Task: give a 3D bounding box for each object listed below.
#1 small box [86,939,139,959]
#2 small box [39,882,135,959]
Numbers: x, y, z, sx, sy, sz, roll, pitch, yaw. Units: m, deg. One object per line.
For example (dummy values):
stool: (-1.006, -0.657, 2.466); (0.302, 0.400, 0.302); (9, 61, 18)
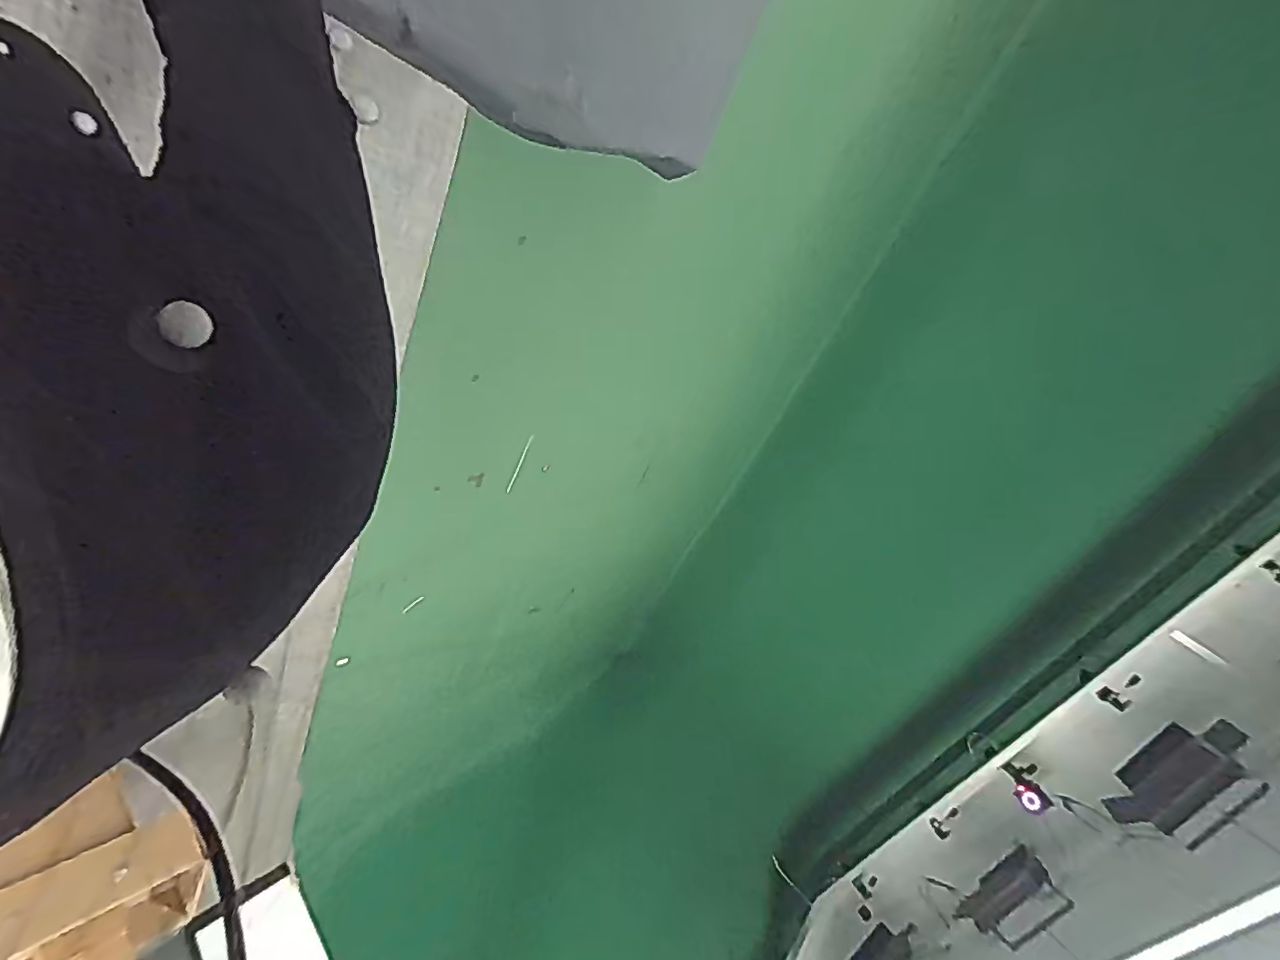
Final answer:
small box: (-1.463, 1.395, 1.453); (0.168, 0.176, 0.179); (-2, 128, -52)
small box: (-1.563, 1.288, 1.526); (0.168, 0.176, 0.179); (-2, 130, -53)
